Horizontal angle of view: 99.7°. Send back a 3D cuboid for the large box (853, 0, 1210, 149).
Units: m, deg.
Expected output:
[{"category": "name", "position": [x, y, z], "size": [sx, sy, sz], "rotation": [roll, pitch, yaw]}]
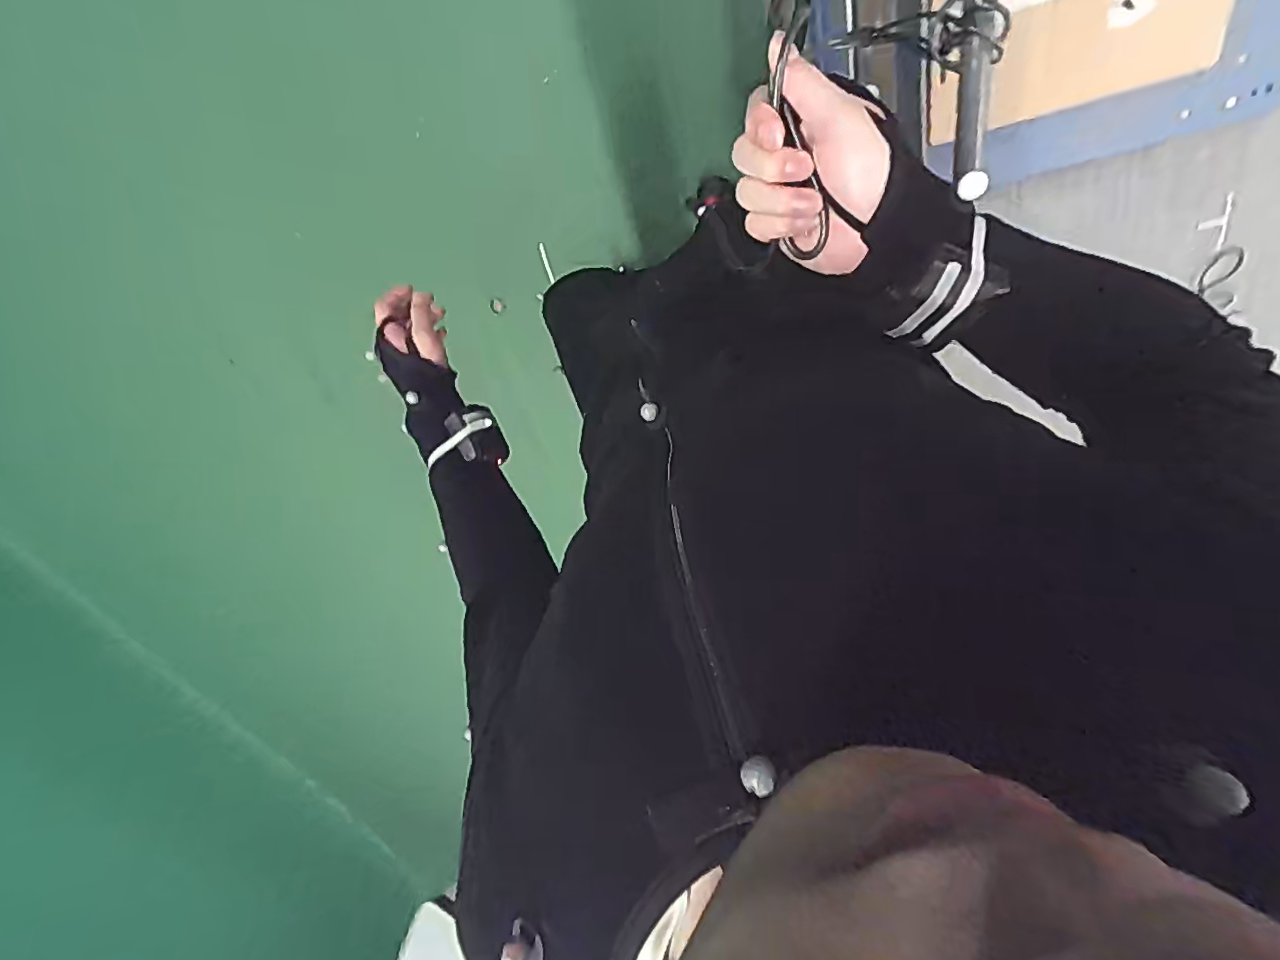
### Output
[{"category": "large box", "position": [0.607, -0.782, 0.894], "size": [0.408, 0.320, 0.320], "rotation": [-12, 122, 9]}]
